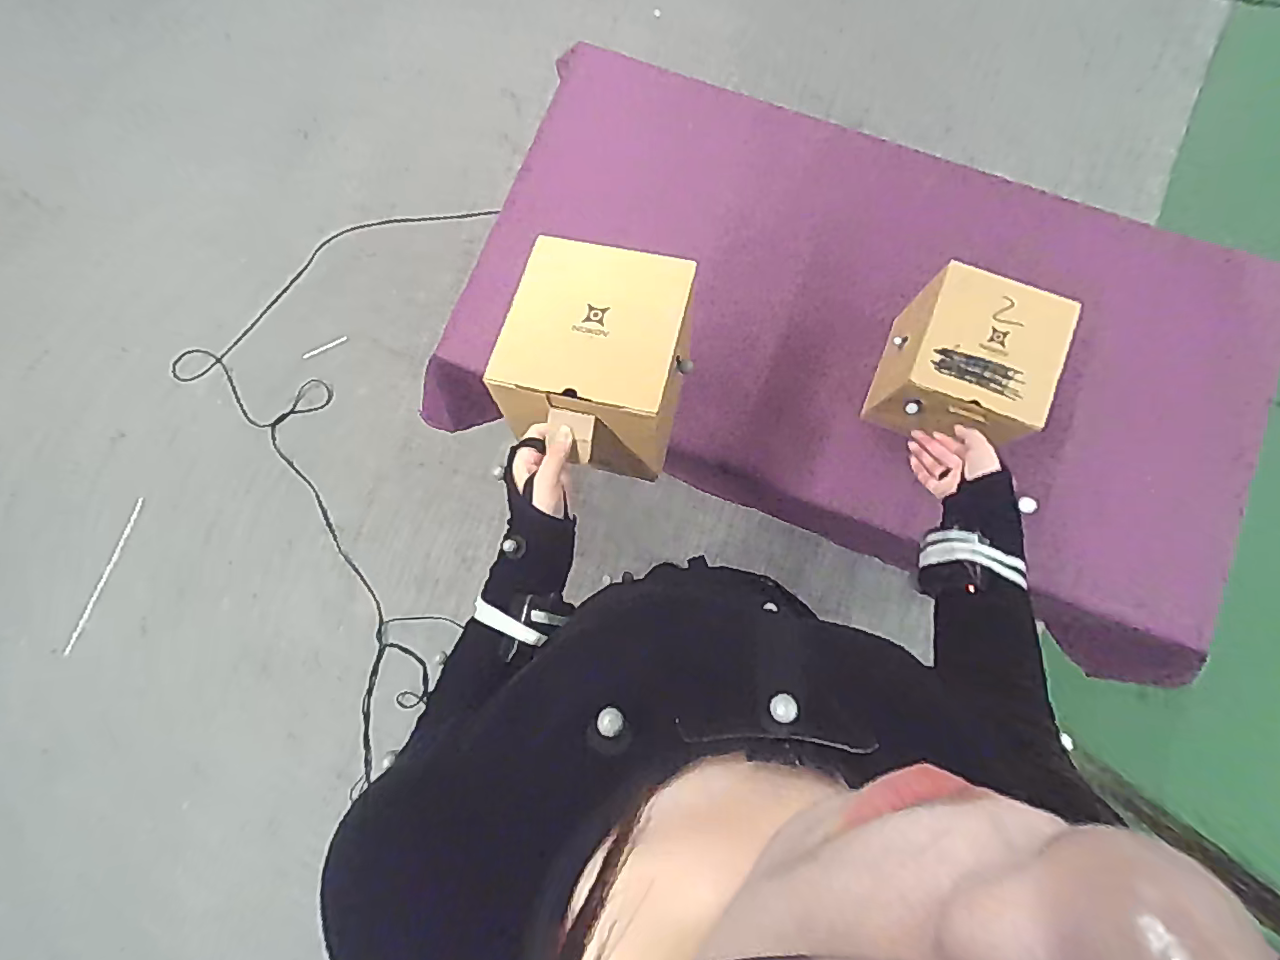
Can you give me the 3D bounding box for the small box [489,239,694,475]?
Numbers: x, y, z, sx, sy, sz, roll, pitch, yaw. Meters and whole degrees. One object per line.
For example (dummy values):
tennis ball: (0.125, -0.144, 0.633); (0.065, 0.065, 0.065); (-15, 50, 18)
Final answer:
small box: (-0.042, -0.127, 0.602); (0.168, 0.176, 0.179); (12, 71, 7)
